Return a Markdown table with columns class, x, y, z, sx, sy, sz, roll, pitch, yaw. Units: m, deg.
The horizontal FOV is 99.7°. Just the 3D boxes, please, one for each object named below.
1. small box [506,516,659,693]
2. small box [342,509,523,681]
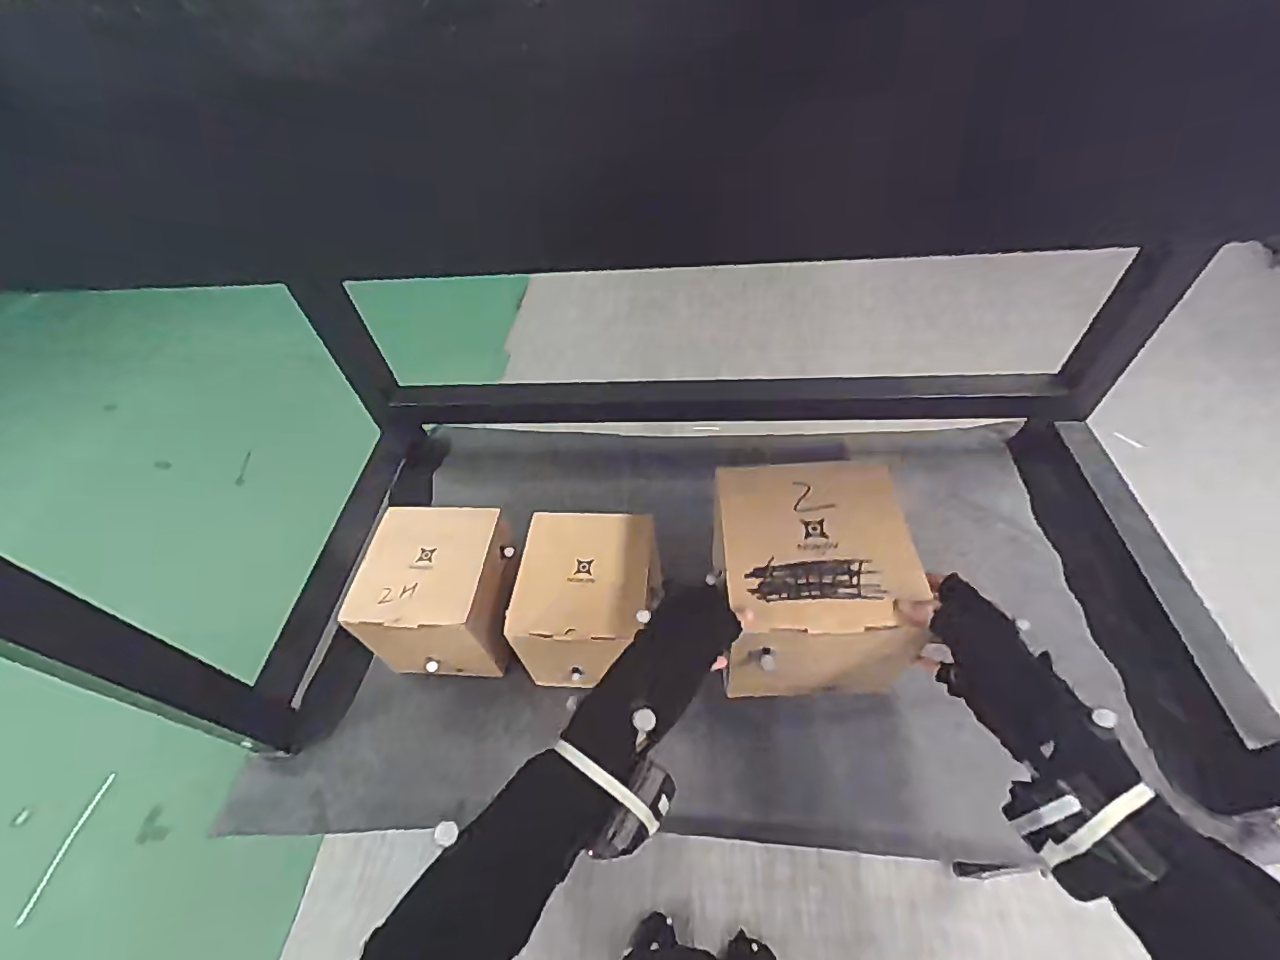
| class | x | y | z | sx | sy | sz | roll | pitch | yaw |
| --- | --- | --- | --- | --- | --- | --- | --- | --- | --- |
| small box | -0.063 | 0.168 | 0.732 | 0.168 | 0.176 | 0.179 | 1 | 51 | 7 |
| small box | -0.269 | 0.161 | 0.758 | 0.168 | 0.176 | 0.179 | 1 | 50 | 7 |
